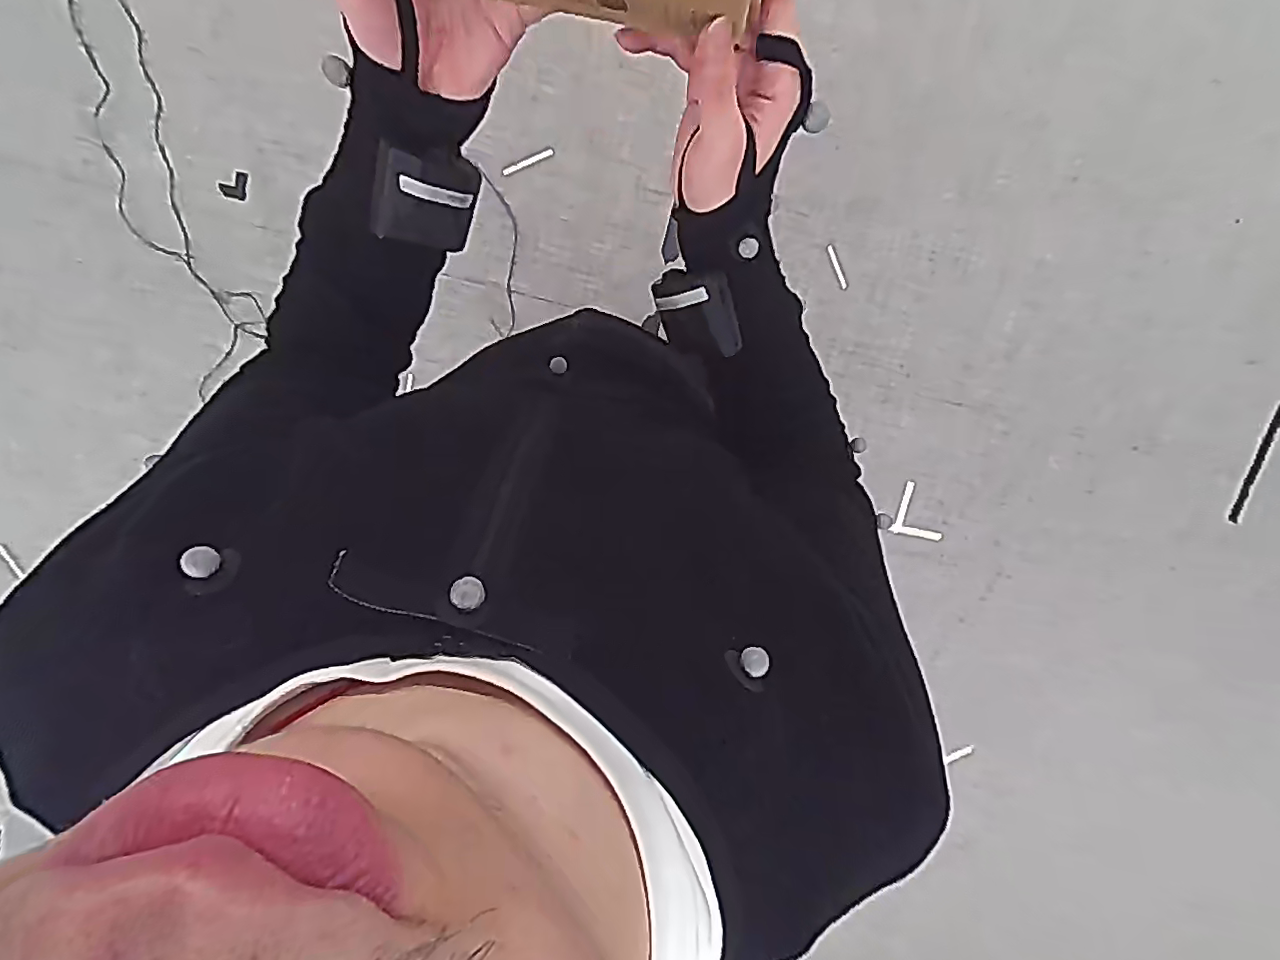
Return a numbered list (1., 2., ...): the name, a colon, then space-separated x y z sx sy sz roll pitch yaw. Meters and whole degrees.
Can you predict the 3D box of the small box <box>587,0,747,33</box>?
1. small box: -0.021 -0.288 0.174 0.168 0.176 0.179 12 112 2
